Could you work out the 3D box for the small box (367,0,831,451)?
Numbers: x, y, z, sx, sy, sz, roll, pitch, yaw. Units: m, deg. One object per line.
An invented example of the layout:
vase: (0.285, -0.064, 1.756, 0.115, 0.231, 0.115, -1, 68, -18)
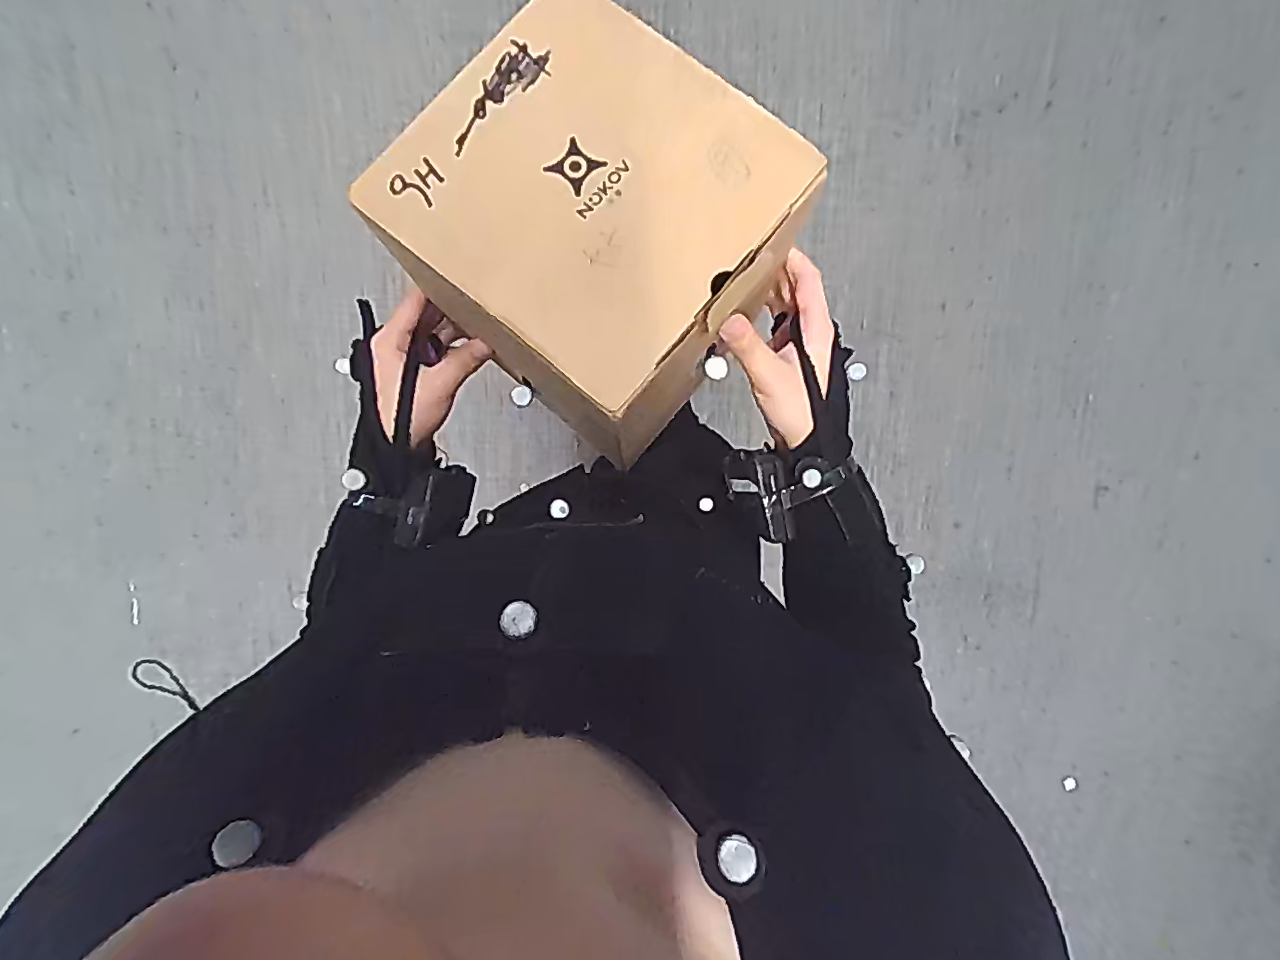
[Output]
small box: (-0.020, -0.135, 0.348, 0.179, 0.176, 0.168, 41, 84, 4)
